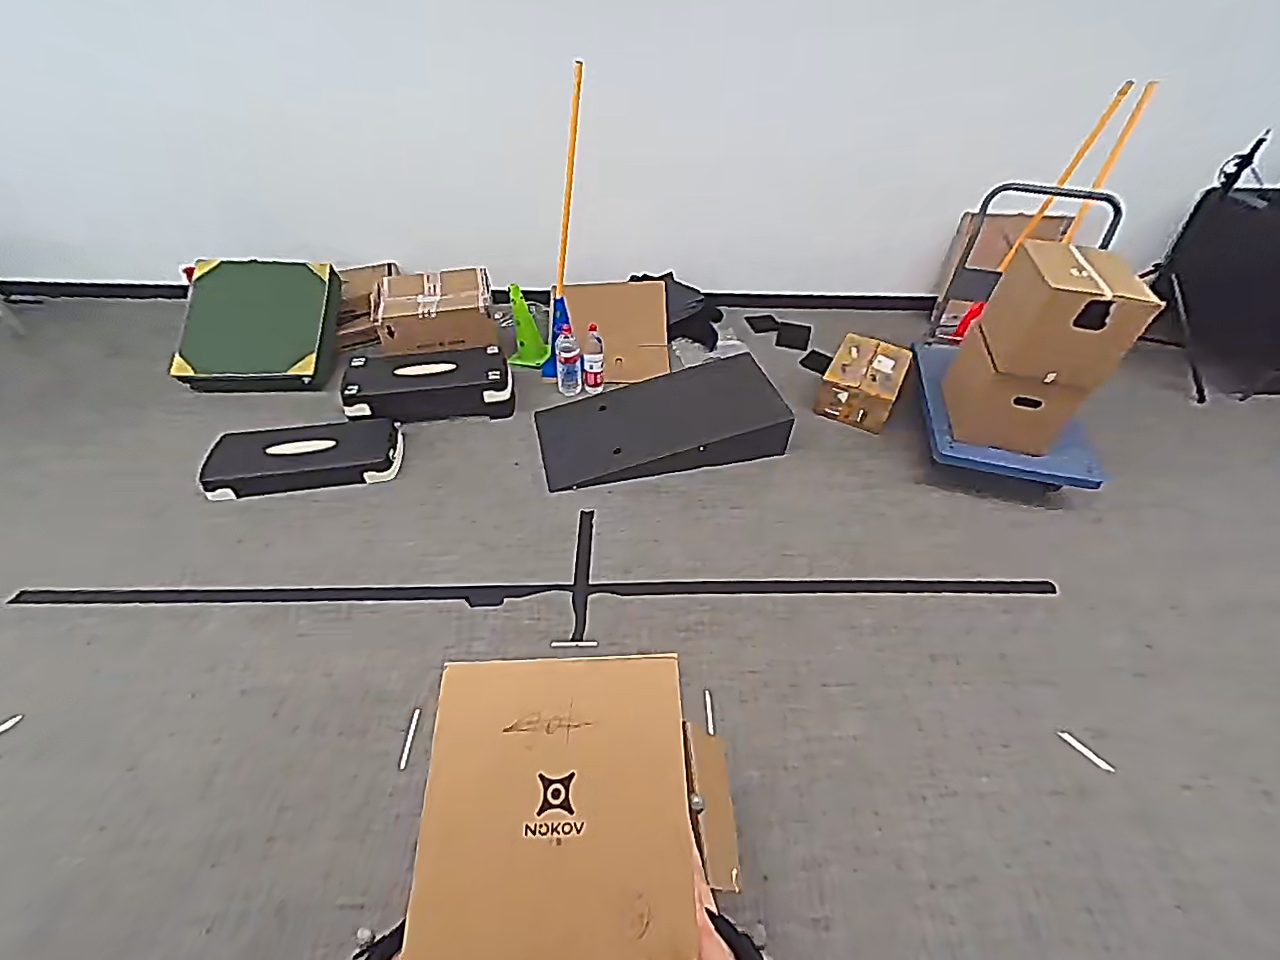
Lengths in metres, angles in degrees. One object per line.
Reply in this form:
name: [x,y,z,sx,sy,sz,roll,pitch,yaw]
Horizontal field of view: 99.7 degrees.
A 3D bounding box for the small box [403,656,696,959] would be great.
small box: [-0.051,0.241,0.403,0.168,0.176,0.179,-1,58,-1]
